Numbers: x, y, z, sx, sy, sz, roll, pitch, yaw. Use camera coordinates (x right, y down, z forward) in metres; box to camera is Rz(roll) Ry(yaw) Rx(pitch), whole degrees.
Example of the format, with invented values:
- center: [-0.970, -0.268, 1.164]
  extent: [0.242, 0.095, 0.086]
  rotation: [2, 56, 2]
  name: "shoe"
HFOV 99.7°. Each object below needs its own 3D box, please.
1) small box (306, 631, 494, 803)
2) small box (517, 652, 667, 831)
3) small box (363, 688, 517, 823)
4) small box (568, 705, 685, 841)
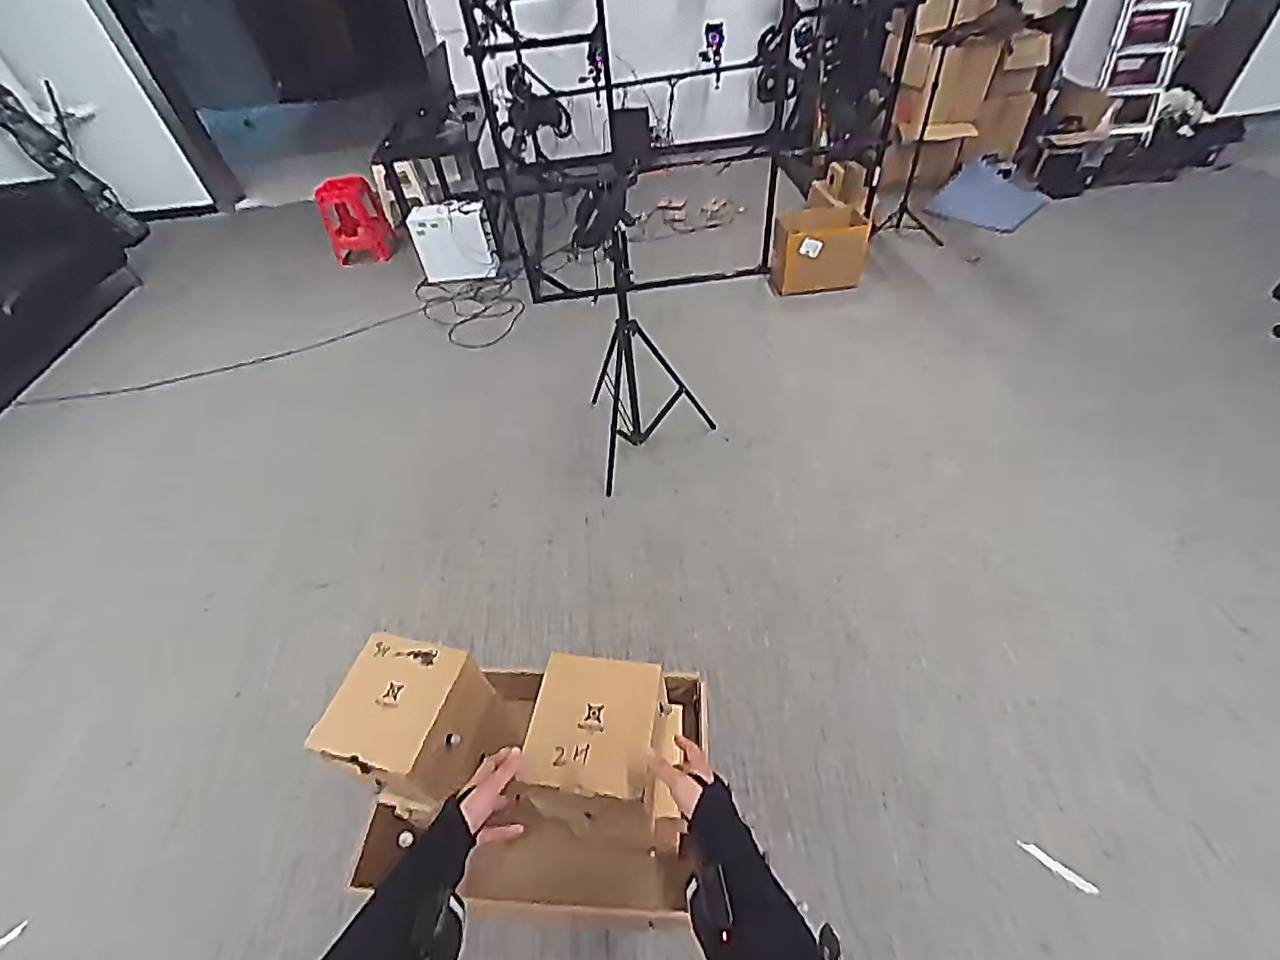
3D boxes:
- center: [-0.343, 0.360, 0.816]
  extent: [0.168, 0.176, 0.179]
  rotation: [8, 48, 13]
  name: "small box"
- center: [-0.055, 0.373, 0.775]
  extent: [0.168, 0.176, 0.179]
  rotation: [3, 47, 11]
  name: "small box"
- center: [-0.331, 0.469, 0.939]
  extent: [0.168, 0.176, 0.179]
  rotation: [5, 46, 11]
  name: "small box"
- center: [-0.017, 0.481, 0.895]
  extent: [0.179, 0.176, 0.168]
  rotation: [1, 46, 8]
  name: "small box"
